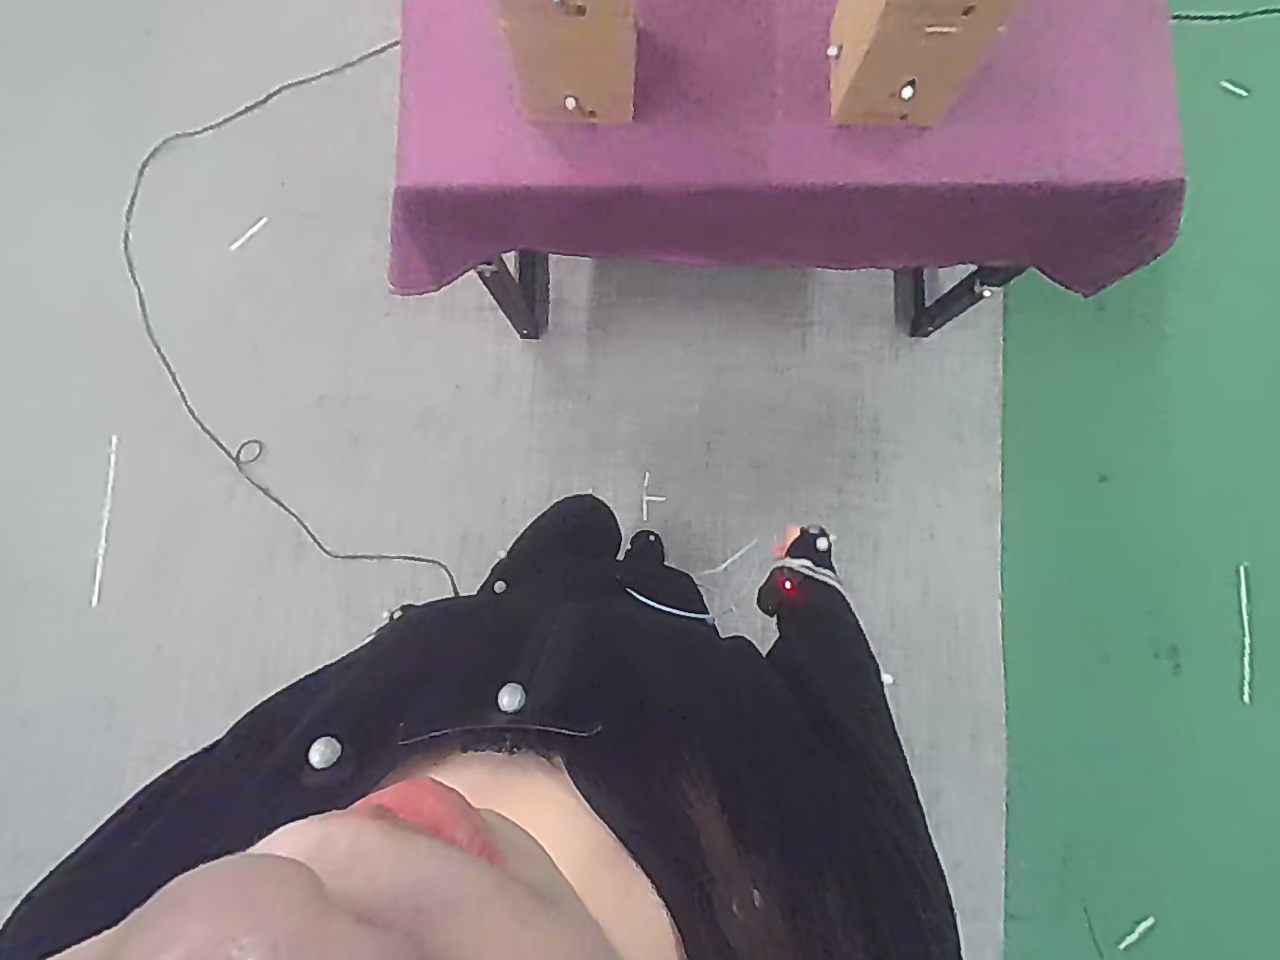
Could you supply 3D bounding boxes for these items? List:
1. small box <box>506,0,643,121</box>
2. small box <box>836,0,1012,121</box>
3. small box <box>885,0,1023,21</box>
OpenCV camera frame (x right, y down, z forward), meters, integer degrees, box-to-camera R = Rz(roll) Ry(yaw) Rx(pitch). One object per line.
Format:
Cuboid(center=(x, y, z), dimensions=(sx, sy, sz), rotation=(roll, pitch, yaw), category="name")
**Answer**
Cuboid(center=(-0.082, -0.651, 0.761), dimensions=(0.168, 0.176, 0.179), rotation=(3, 86, 1), category="small box")
Cuboid(center=(0.385, -0.641, 0.757), dimensions=(0.168, 0.176, 0.179), rotation=(2, 86, 0), category="small box")
Cuboid(center=(0.380, -0.654, 0.592), dimensions=(0.168, 0.176, 0.179), rotation=(1, 85, 0), category="small box")
